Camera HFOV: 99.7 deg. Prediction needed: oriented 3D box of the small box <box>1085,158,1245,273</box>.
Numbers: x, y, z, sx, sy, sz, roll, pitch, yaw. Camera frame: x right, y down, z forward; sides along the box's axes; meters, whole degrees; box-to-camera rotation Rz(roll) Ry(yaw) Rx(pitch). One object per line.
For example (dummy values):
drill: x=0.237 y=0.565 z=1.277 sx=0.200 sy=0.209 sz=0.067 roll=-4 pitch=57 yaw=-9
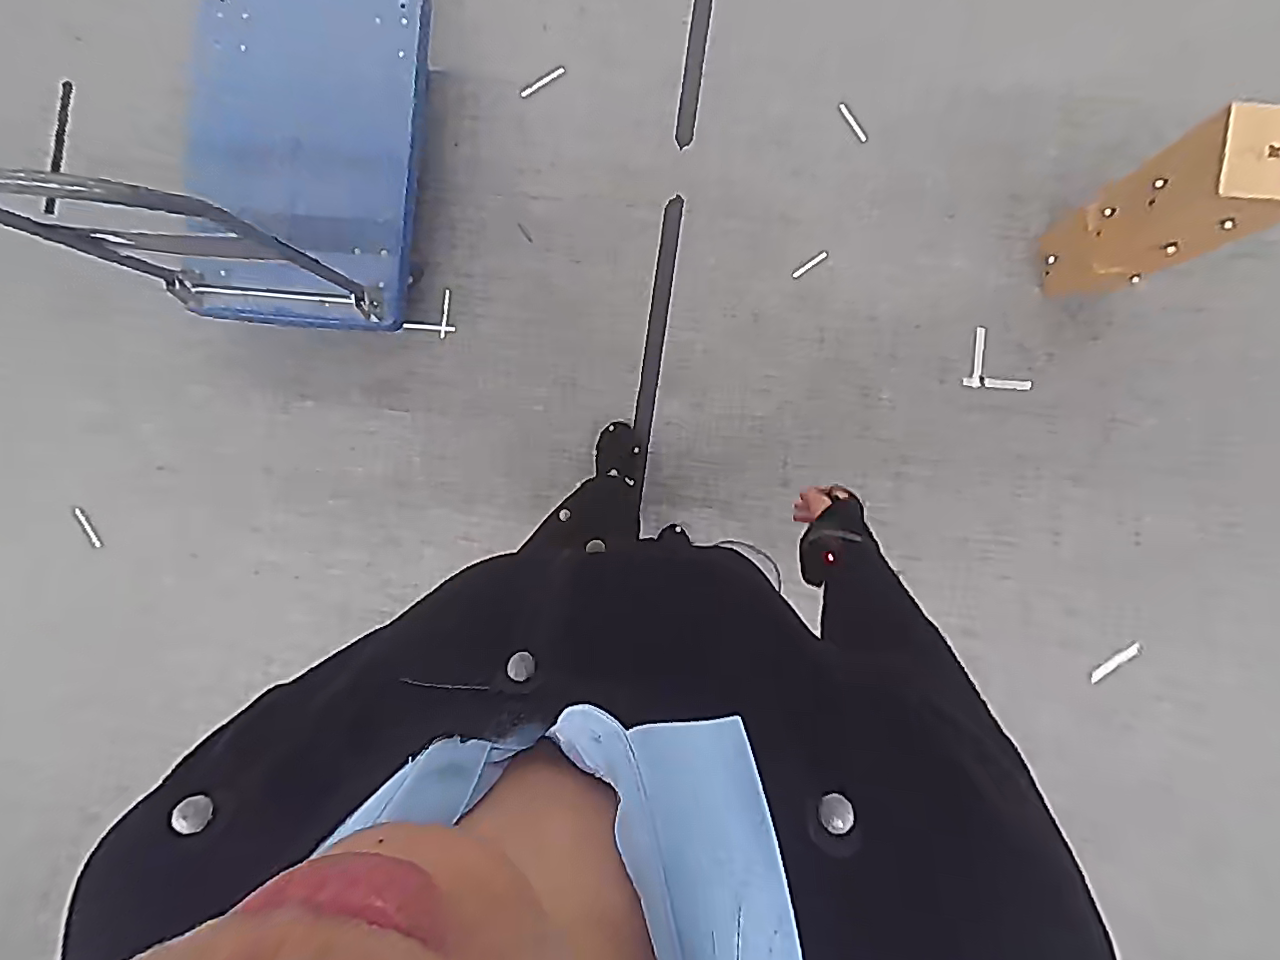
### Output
small box: x=1.132 y=-0.566 z=1.179 sx=0.179 sy=0.176 sz=0.168 roll=8 pitch=90 yaw=4

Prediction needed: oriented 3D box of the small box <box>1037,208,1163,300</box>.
small box: x=1.135 y=-0.560 z=1.342 sx=0.179 sy=0.176 sz=0.168 roll=-5 pitch=89 yaw=4
